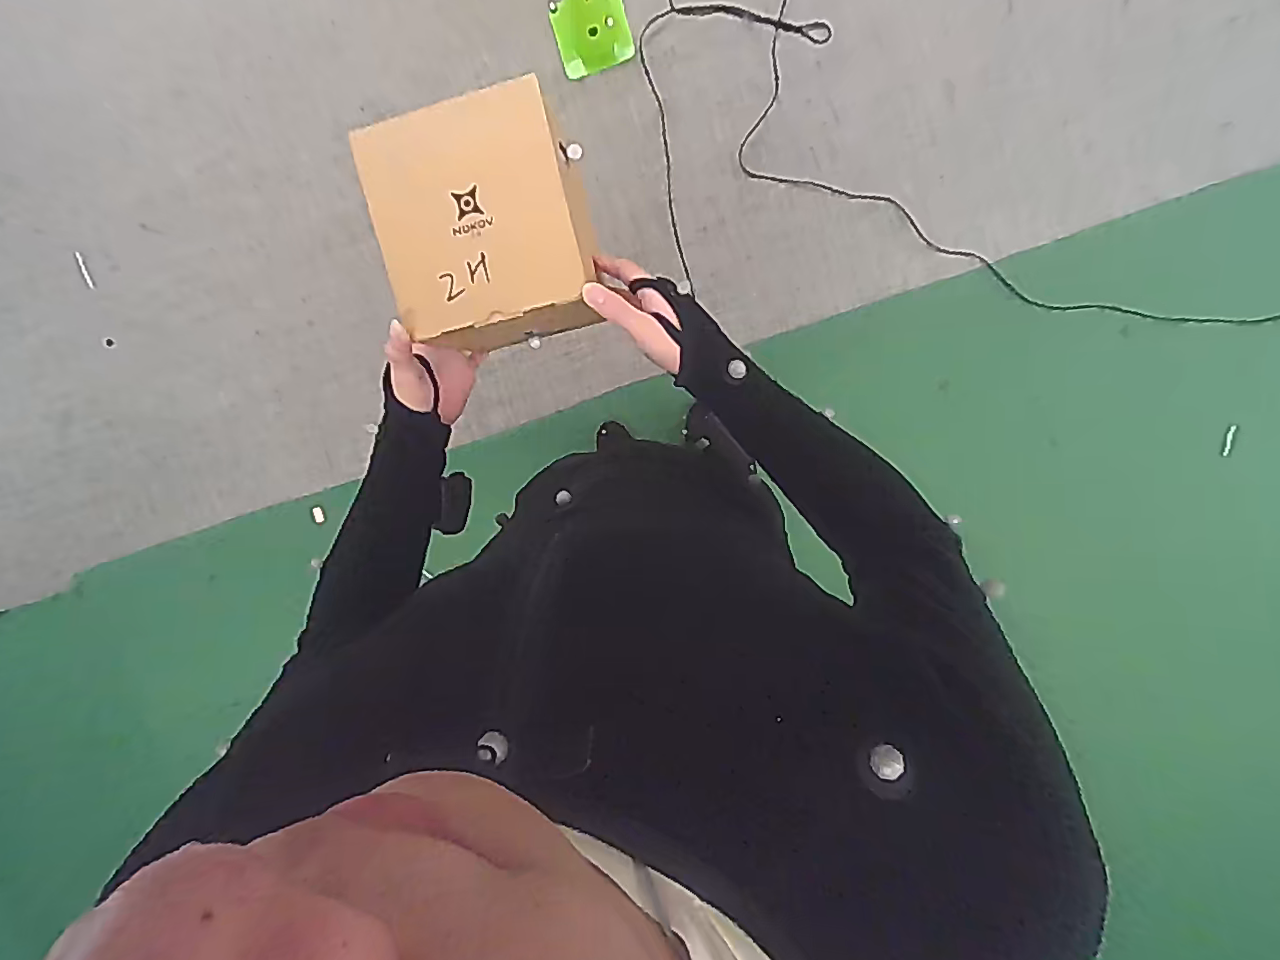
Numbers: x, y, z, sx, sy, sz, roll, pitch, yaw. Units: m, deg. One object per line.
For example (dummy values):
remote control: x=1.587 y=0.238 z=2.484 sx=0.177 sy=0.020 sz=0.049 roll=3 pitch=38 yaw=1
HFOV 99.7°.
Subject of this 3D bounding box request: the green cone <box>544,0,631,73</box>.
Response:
green cone: x=-0.149 y=-1.197 z=1.282 sx=0.202 sy=0.368 sz=0.200 roll=-17 pitch=97 yaw=5
